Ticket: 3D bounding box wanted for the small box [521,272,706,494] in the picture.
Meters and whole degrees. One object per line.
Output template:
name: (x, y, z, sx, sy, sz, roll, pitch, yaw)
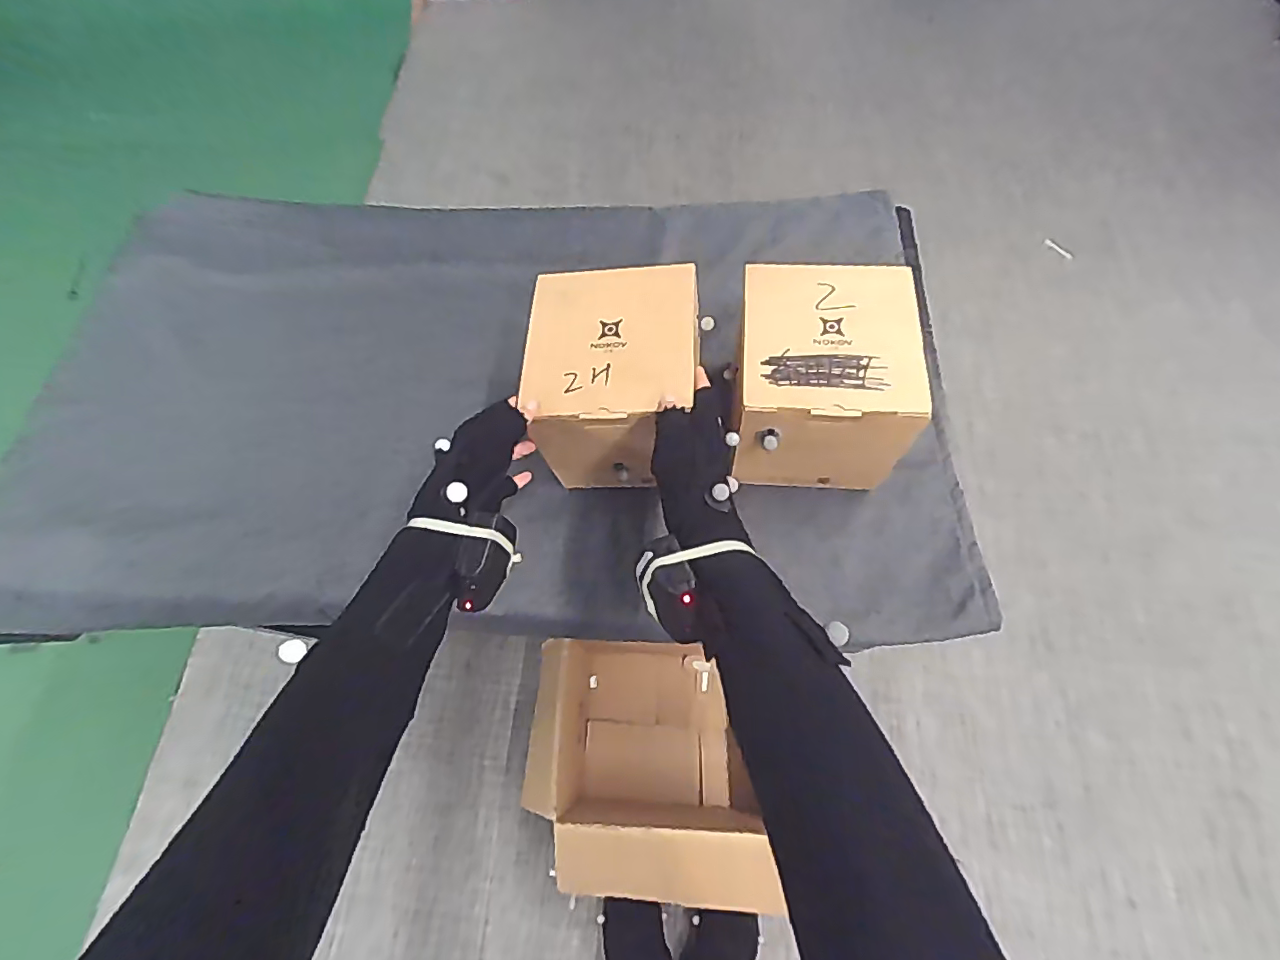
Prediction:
small box: (-0.015, -0.098, 0.594, 0.168, 0.176, 0.179, -1, 66, 9)
